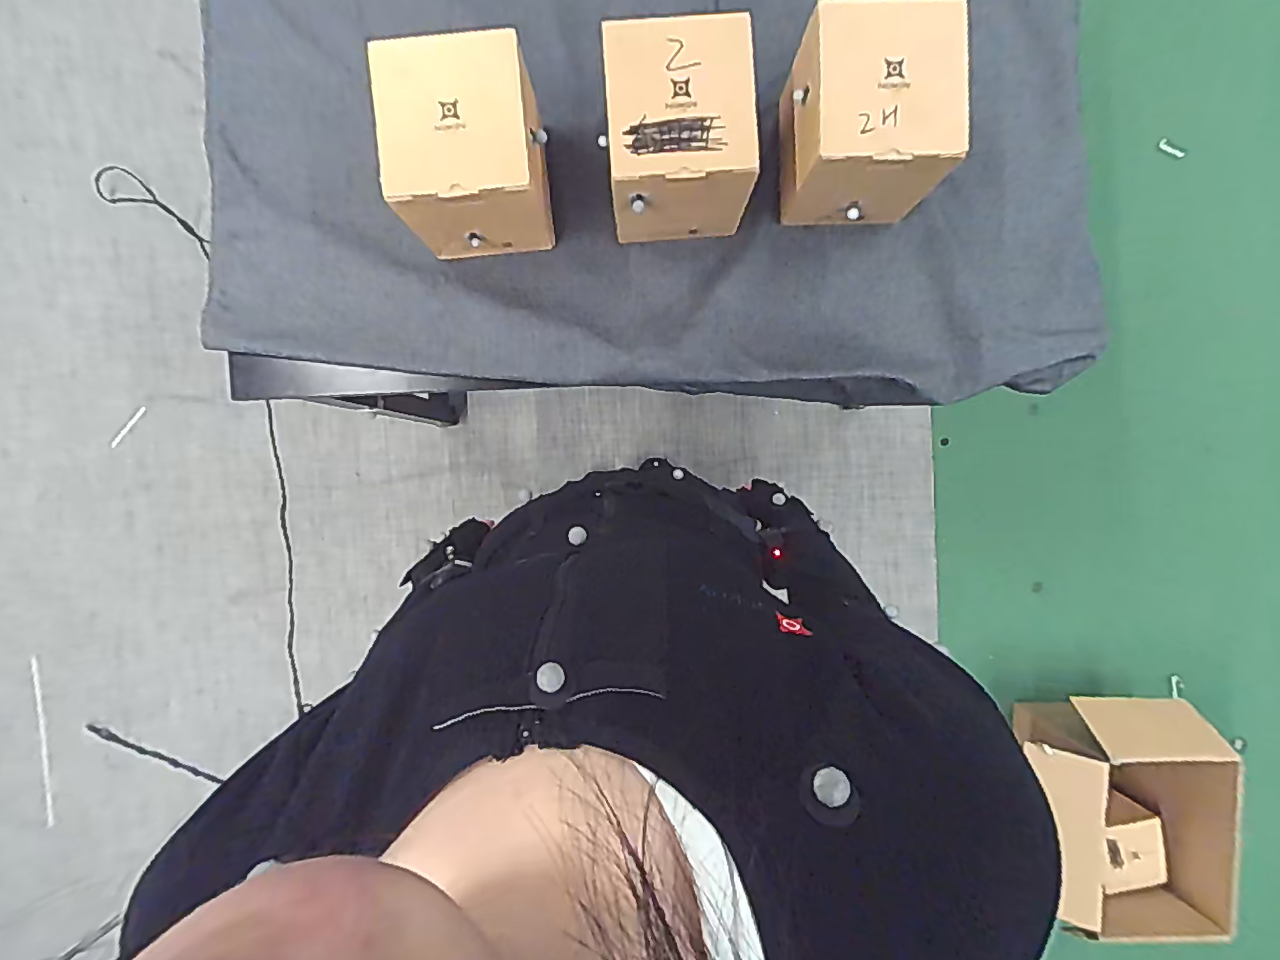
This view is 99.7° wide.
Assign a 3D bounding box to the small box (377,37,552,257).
[{"bbox_3d":[-0.209,-0.406,0.686,0.168,0.176,0.179,-5,92,-1],"label":"small box"}]
